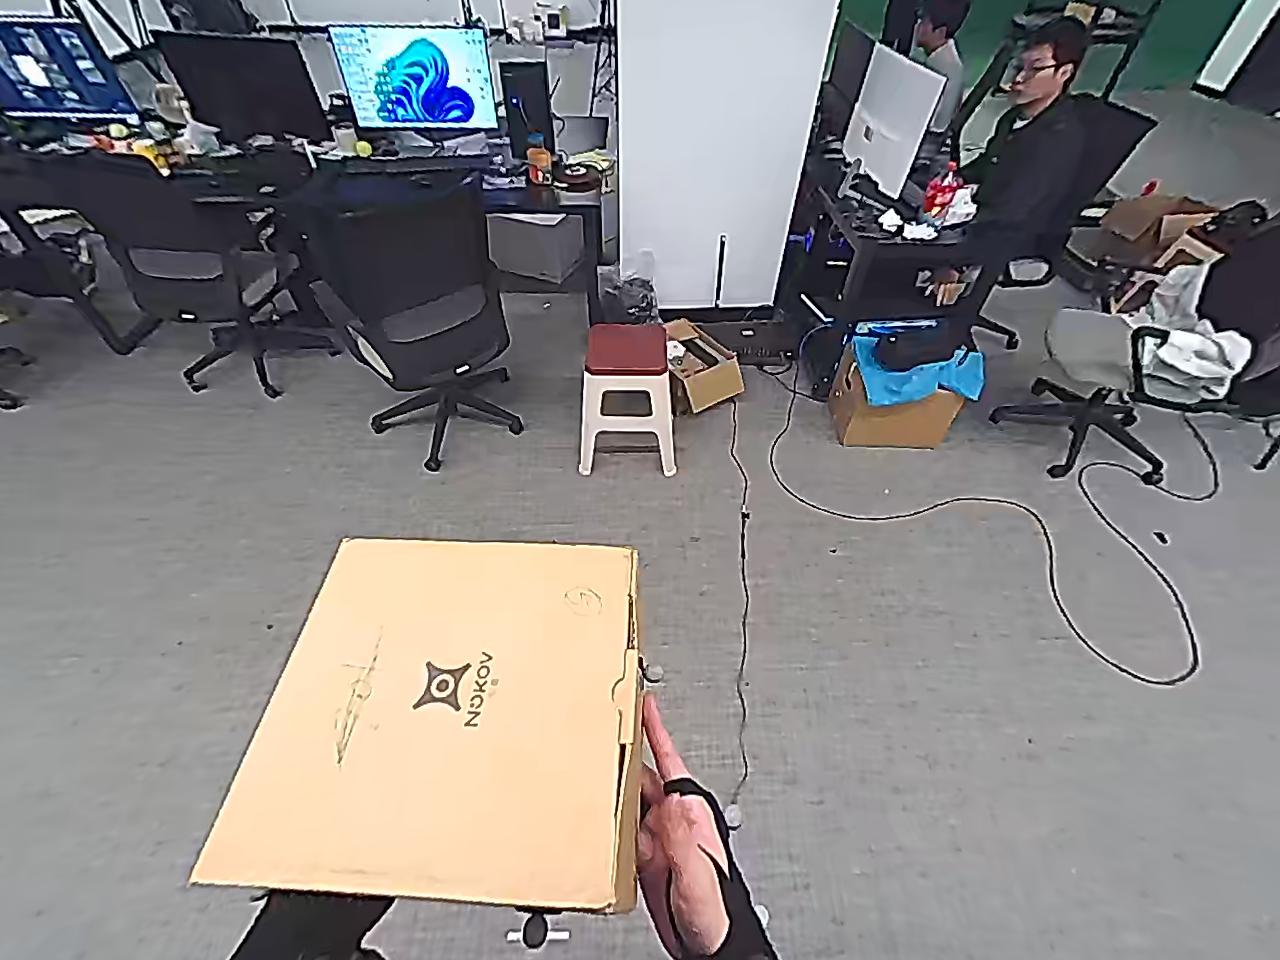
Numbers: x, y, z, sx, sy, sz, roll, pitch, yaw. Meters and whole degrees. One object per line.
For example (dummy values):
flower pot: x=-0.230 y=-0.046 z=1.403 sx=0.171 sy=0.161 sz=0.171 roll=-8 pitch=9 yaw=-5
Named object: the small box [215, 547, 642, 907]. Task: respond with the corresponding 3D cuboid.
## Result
small box: x=-0.090 y=0.158 z=0.338 sx=0.179 sy=0.176 sz=0.168 roll=0 pitch=51 yaw=4
